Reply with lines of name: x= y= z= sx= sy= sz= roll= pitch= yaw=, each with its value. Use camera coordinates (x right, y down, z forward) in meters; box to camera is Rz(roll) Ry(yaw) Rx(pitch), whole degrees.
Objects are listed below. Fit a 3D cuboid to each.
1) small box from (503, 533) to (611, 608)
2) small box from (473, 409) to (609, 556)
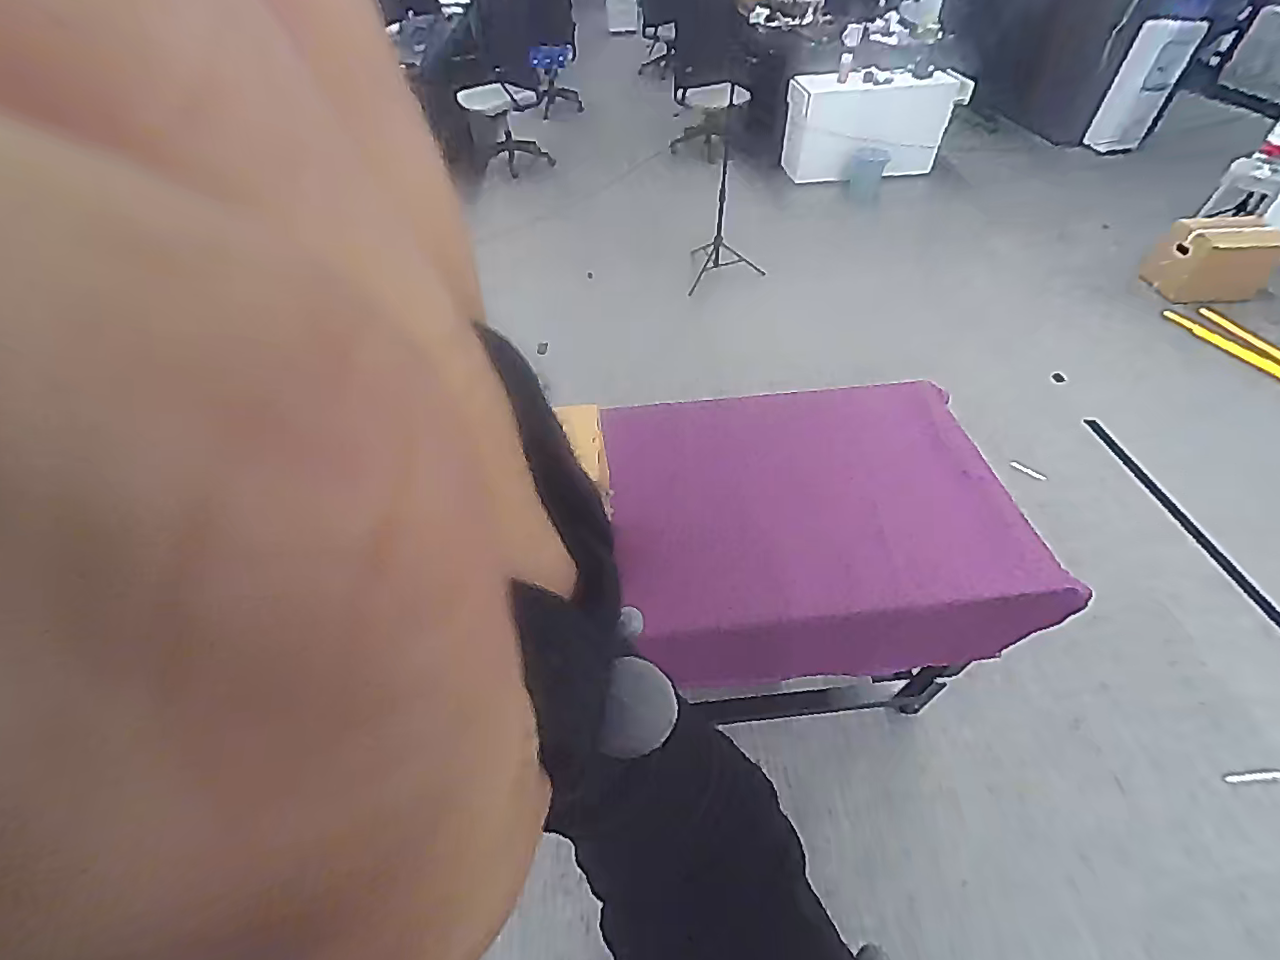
small box: x=-0.143 y=0.112 z=0.986 sx=0.168 sy=0.176 sz=0.179 roll=-5 pitch=49 yaw=-1
small box: x=-0.146 y=0.009 z=0.861 sx=0.179 sy=0.176 sz=0.168 roll=-4 pitch=49 yaw=-1
